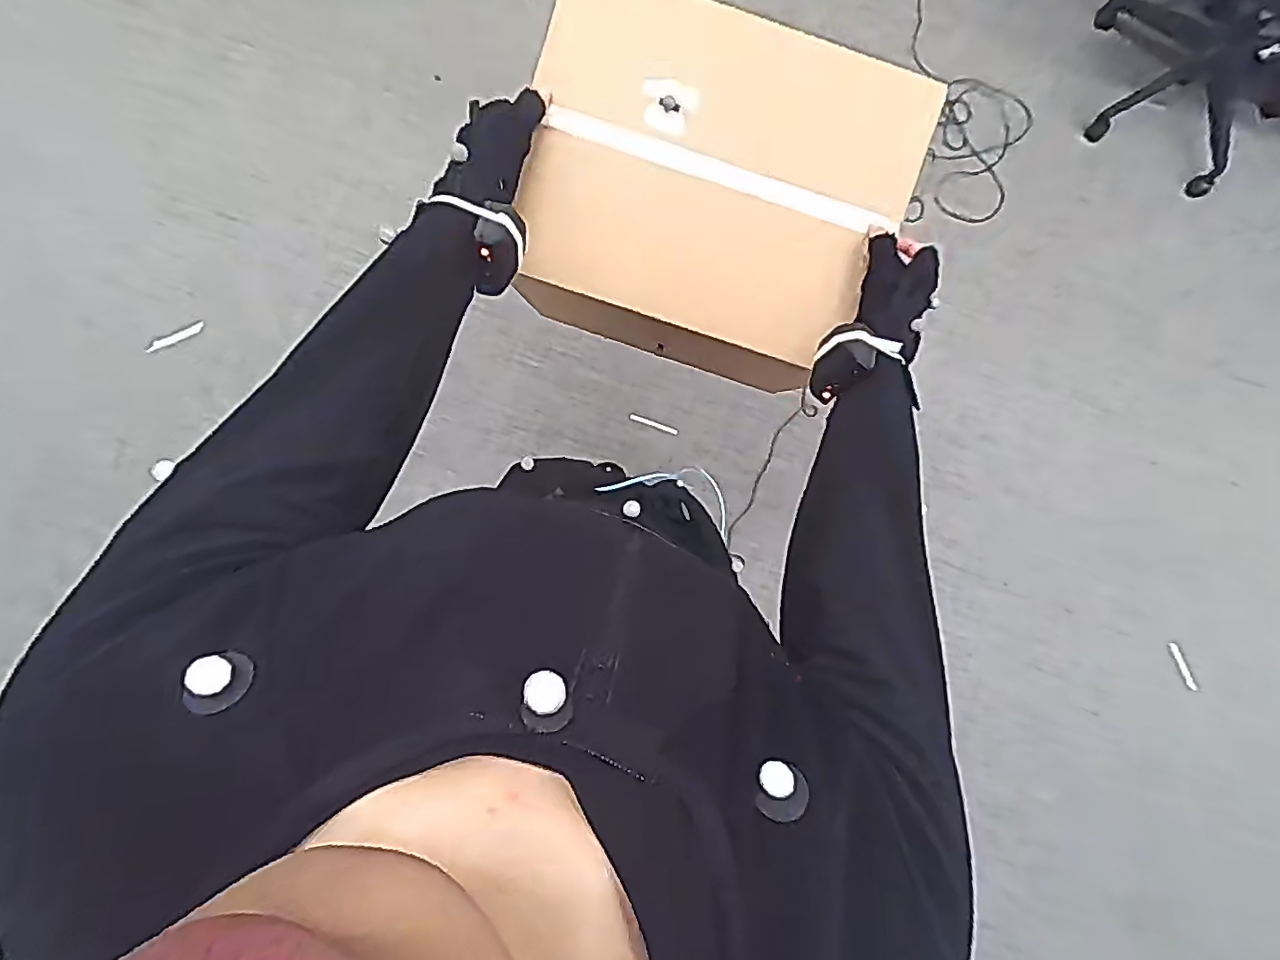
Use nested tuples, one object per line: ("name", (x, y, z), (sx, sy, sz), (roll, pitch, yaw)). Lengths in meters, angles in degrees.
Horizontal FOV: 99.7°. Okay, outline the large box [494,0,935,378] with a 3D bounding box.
("large box", (0.077, -0.344, 0.716), (0.408, 0.320, 0.320), (18, 96, -2))
